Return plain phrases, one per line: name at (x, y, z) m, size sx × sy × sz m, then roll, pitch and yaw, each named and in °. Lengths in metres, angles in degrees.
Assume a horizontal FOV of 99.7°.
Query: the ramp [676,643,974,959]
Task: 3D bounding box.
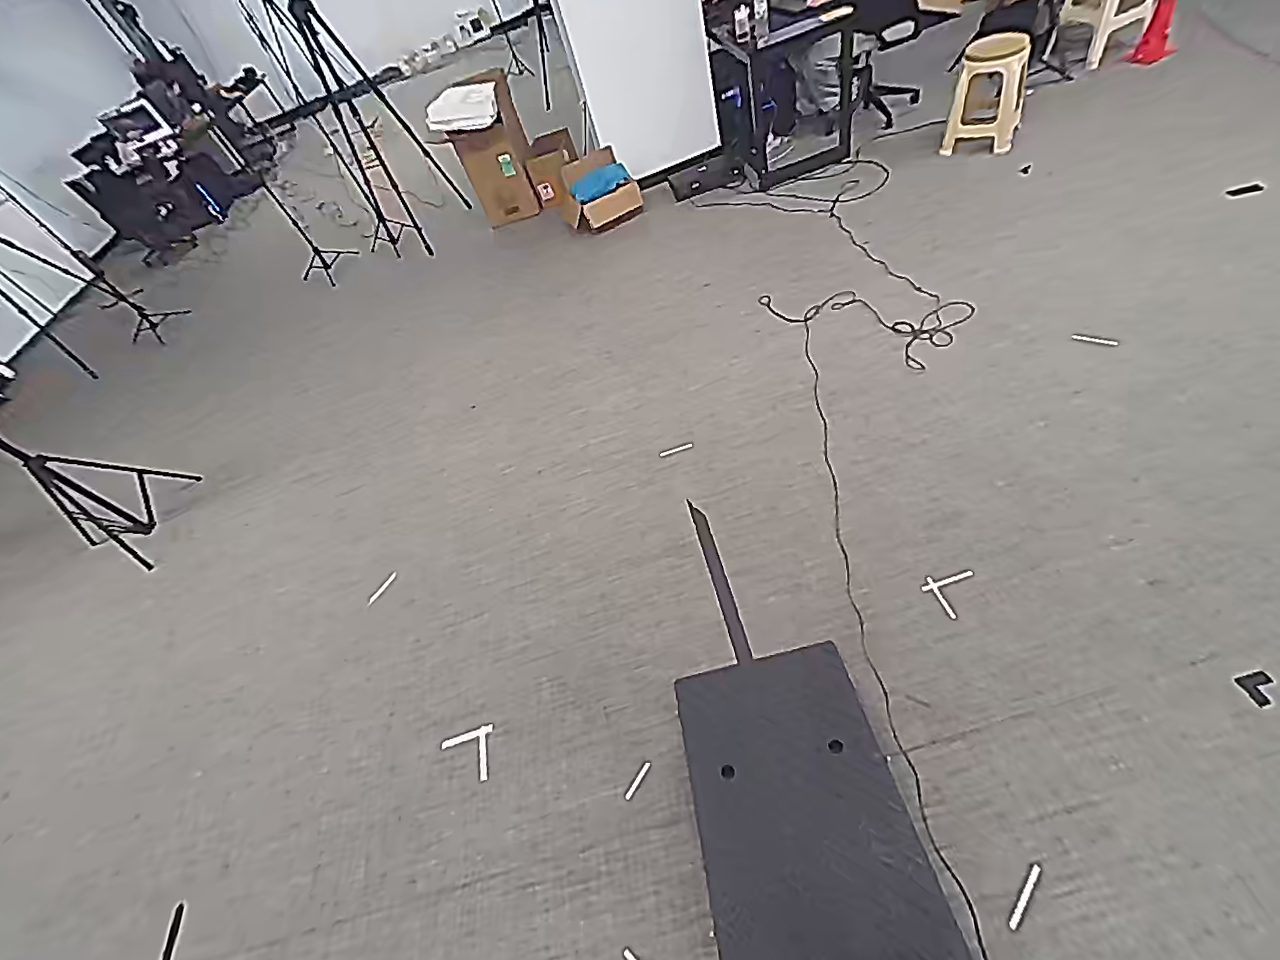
ramp at (0.385, 0.856, 1.229) m, size 0.509 × 0.206 × 0.991 m, roll -19°, pitch 48°, yaw 6°
